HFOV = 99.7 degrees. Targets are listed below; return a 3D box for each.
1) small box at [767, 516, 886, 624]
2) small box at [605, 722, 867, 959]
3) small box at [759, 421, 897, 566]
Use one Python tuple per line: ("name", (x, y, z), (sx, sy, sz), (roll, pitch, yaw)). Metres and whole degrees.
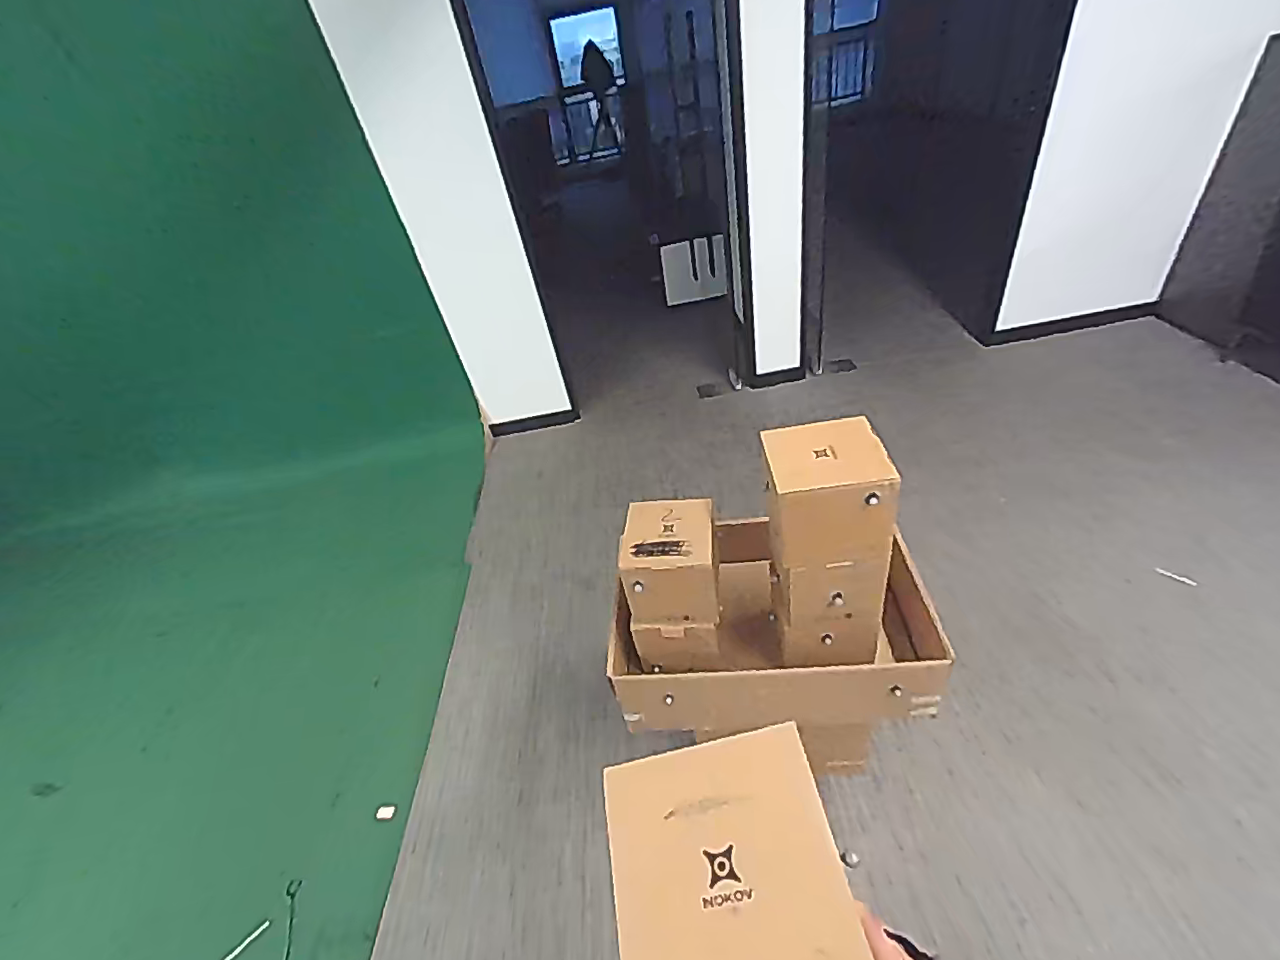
("small box", (0.335, 0.149, 0.995), (0.168, 0.176, 0.179), (-8, 40, 6))
("small box", (0.080, 0.330, 0.450), (0.168, 0.176, 0.179), (-16, 47, 6))
("small box", (0.300, 0.026, 0.893), (0.179, 0.176, 0.168), (-8, 39, 6))
